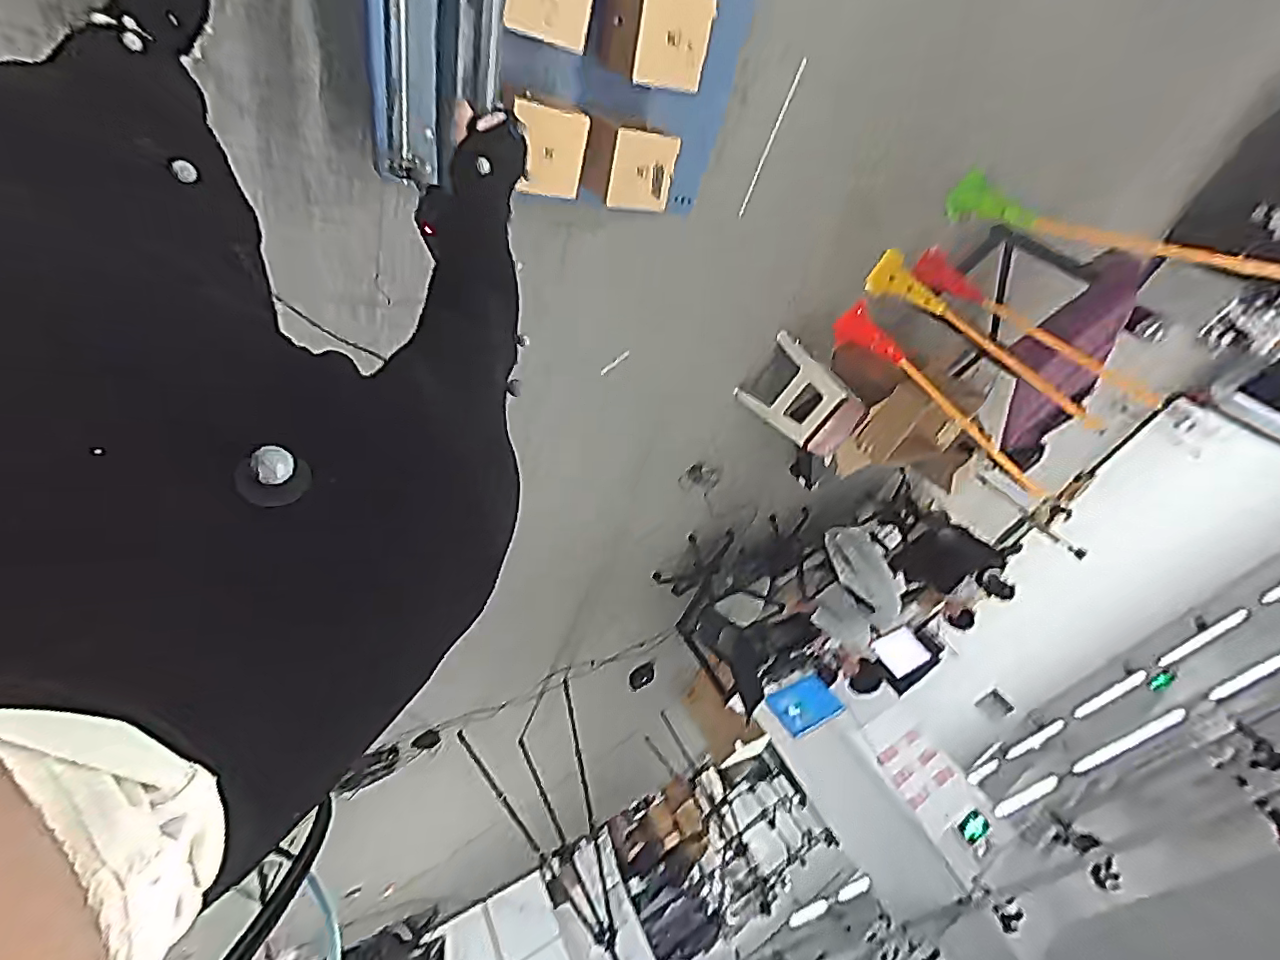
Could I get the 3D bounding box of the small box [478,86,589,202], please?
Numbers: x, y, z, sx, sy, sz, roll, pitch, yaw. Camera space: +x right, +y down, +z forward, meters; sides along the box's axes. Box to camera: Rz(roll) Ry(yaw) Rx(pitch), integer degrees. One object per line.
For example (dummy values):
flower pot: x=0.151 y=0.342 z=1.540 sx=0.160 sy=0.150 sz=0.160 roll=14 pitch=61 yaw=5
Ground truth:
small box: x=-0.242 y=-0.746 z=1.202 sx=0.179 sy=0.176 sz=0.168 roll=-9 pitch=137 yaw=-33

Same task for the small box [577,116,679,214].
small box: x=-0.036 y=-0.779 z=1.340 sx=0.179 sy=0.176 sz=0.168 roll=-12 pitch=138 yaw=-30

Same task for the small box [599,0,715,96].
small box: x=0.029 y=-0.966 z=1.179 sx=0.179 sy=0.176 sz=0.168 roll=-14 pitch=140 yaw=-29
